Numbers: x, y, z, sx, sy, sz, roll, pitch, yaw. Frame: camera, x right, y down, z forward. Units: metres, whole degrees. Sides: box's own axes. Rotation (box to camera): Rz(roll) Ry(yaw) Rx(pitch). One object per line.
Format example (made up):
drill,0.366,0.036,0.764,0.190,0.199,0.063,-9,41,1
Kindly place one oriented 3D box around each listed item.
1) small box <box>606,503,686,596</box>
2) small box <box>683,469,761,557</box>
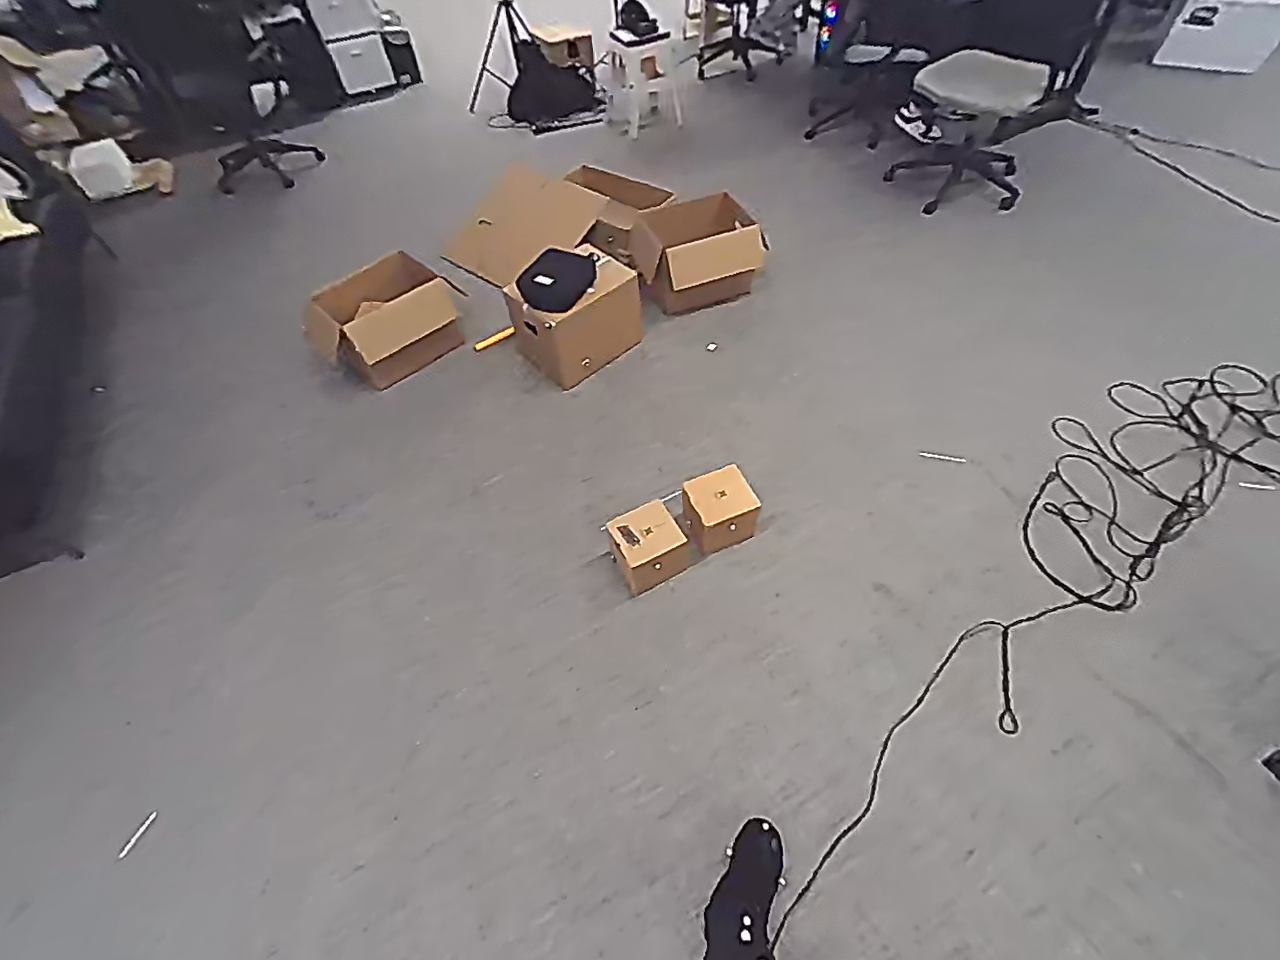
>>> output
small box,0.022,0.203,1.550,0.179,0.176,0.168,-25,55,-13
small box,0.238,0.101,1.607,0.179,0.176,0.168,-21,55,-9
